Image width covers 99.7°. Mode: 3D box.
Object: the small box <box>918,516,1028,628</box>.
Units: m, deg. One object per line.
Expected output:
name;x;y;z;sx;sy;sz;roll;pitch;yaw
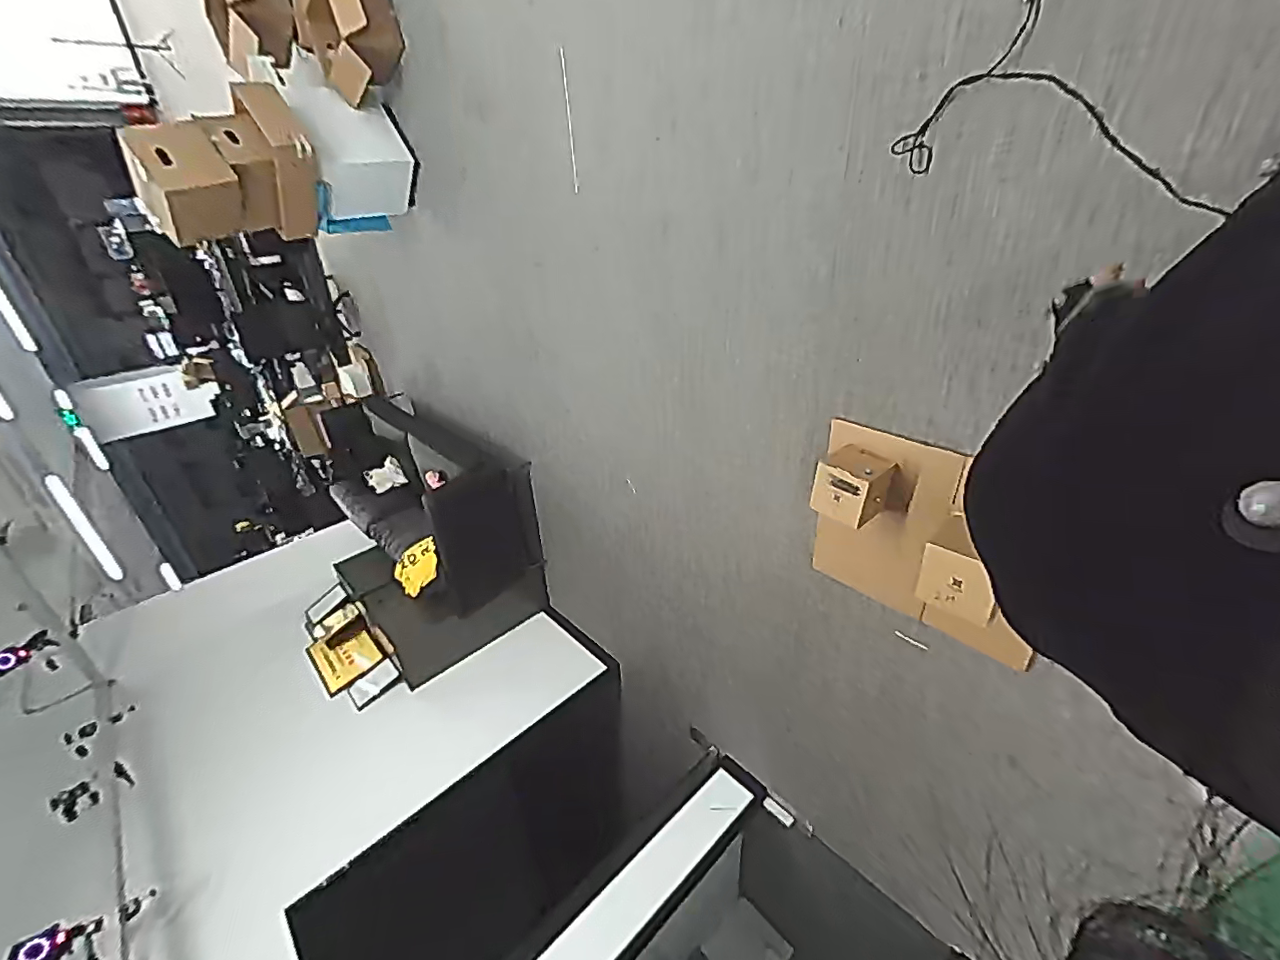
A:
small box;0.805;0.212;1.304;0.168;0.176;0.179;25;131;42
